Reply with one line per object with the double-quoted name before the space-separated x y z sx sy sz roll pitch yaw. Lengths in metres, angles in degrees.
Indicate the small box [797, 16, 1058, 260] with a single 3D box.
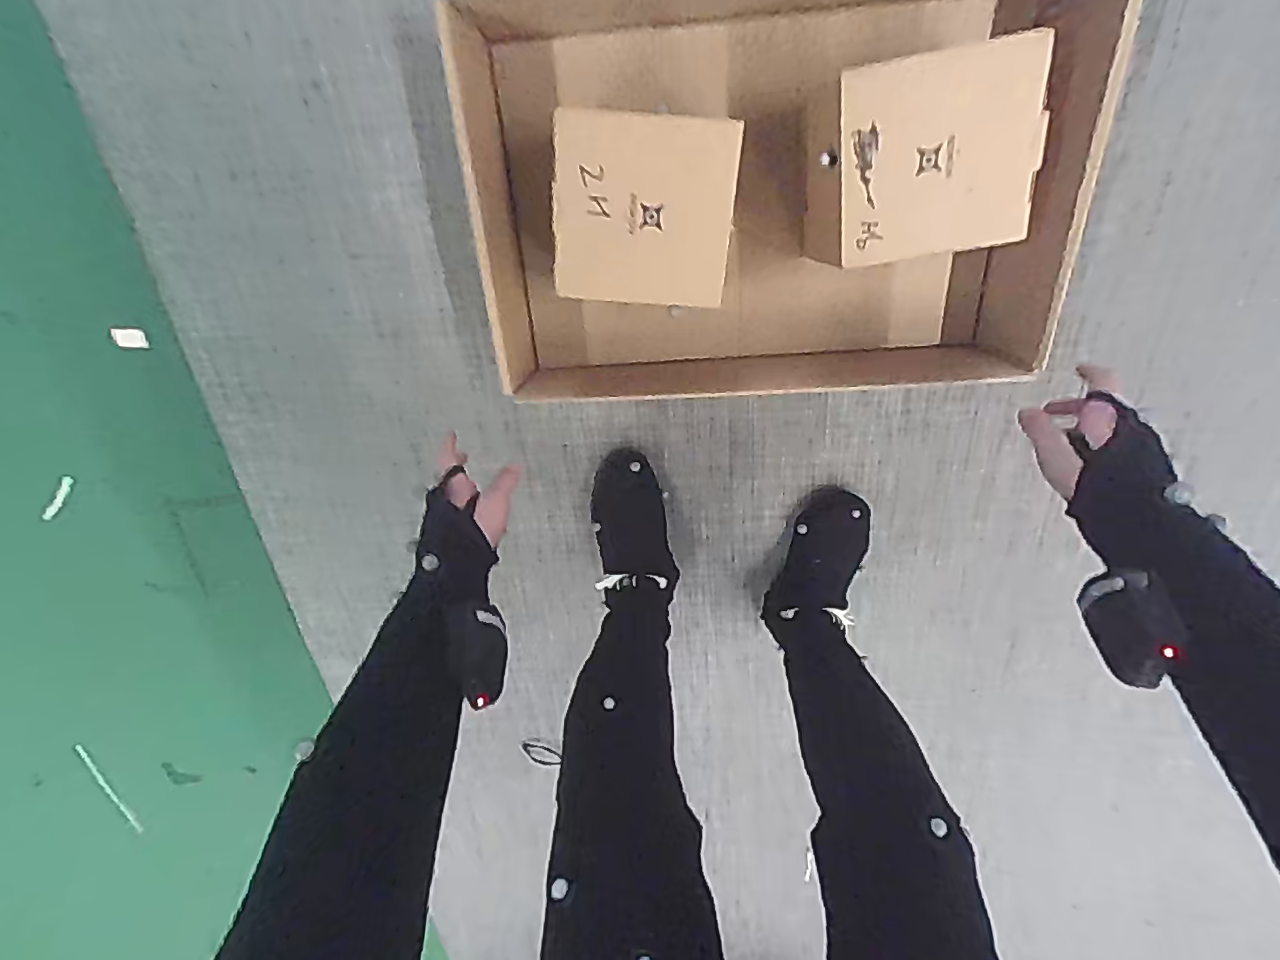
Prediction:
"small box" 0.267 -0.330 0.550 0.179 0.176 0.168 -7 116 7
